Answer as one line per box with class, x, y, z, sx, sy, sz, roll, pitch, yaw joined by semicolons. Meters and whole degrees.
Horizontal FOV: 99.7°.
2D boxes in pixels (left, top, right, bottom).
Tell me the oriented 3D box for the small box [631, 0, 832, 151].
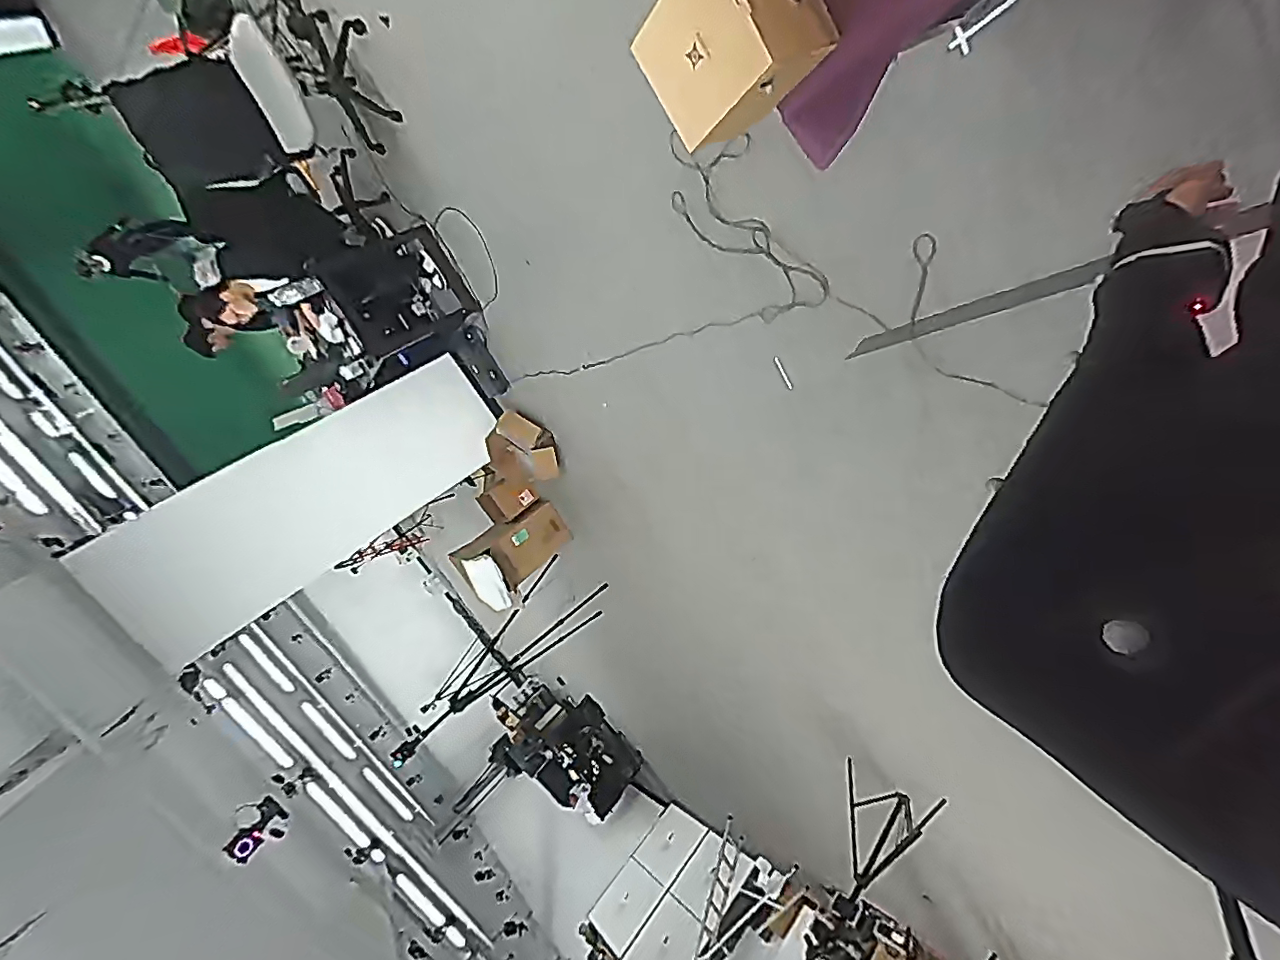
small box;0.126;-0.602;0.746;0.168;0.176;0.179;56;149;-11
